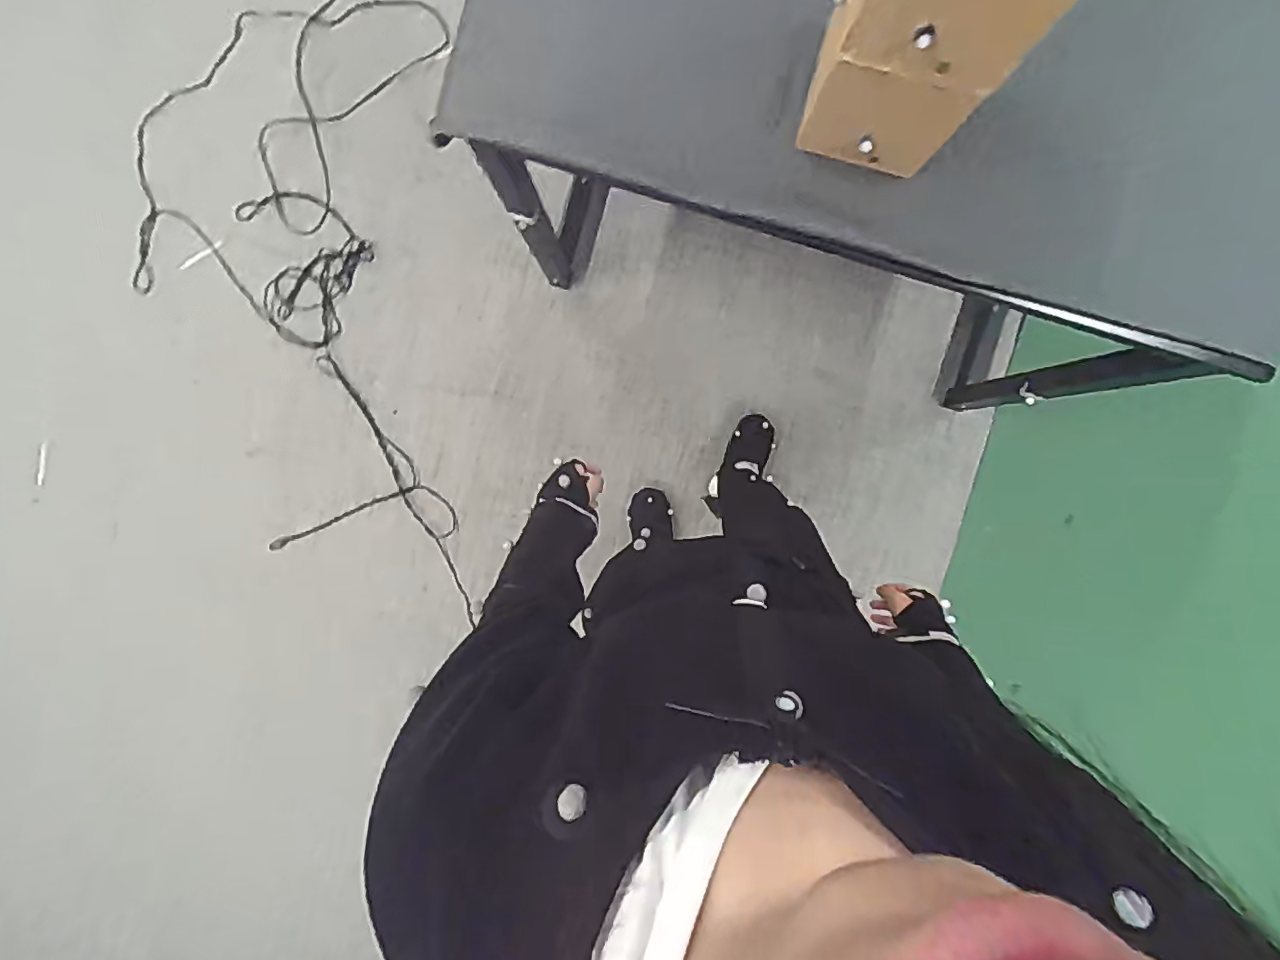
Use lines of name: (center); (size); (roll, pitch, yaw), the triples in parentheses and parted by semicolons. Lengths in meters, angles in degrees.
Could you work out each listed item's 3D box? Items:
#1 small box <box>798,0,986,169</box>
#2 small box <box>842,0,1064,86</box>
small box: (0.305, -0.516, 0.644); (0.168, 0.176, 0.179); (15, 92, 1)
small box: (0.303, -0.510, 0.482); (0.168, 0.176, 0.179); (15, 92, 0)
